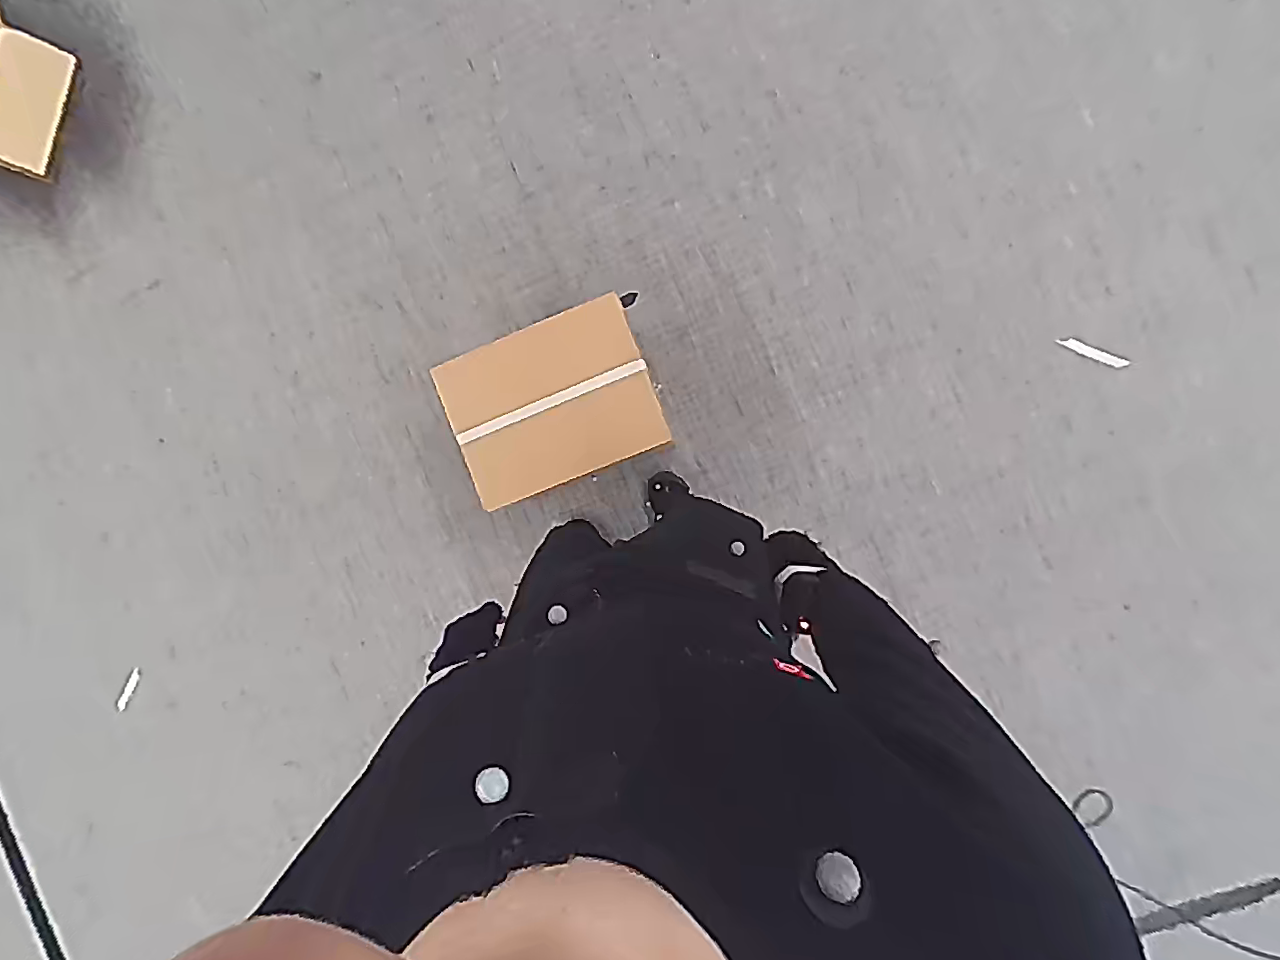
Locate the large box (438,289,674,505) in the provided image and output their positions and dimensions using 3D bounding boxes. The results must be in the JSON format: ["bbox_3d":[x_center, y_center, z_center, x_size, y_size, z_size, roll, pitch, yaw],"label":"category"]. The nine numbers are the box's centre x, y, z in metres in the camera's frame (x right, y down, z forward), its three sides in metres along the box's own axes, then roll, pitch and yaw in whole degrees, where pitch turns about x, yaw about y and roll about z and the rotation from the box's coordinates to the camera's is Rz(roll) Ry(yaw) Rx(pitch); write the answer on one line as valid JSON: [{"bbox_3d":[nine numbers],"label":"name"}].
[{"bbox_3d":[-0.163,-0.166,1.222,0.408,0.320,0.320,-21,92,5],"label":"large box"}]
